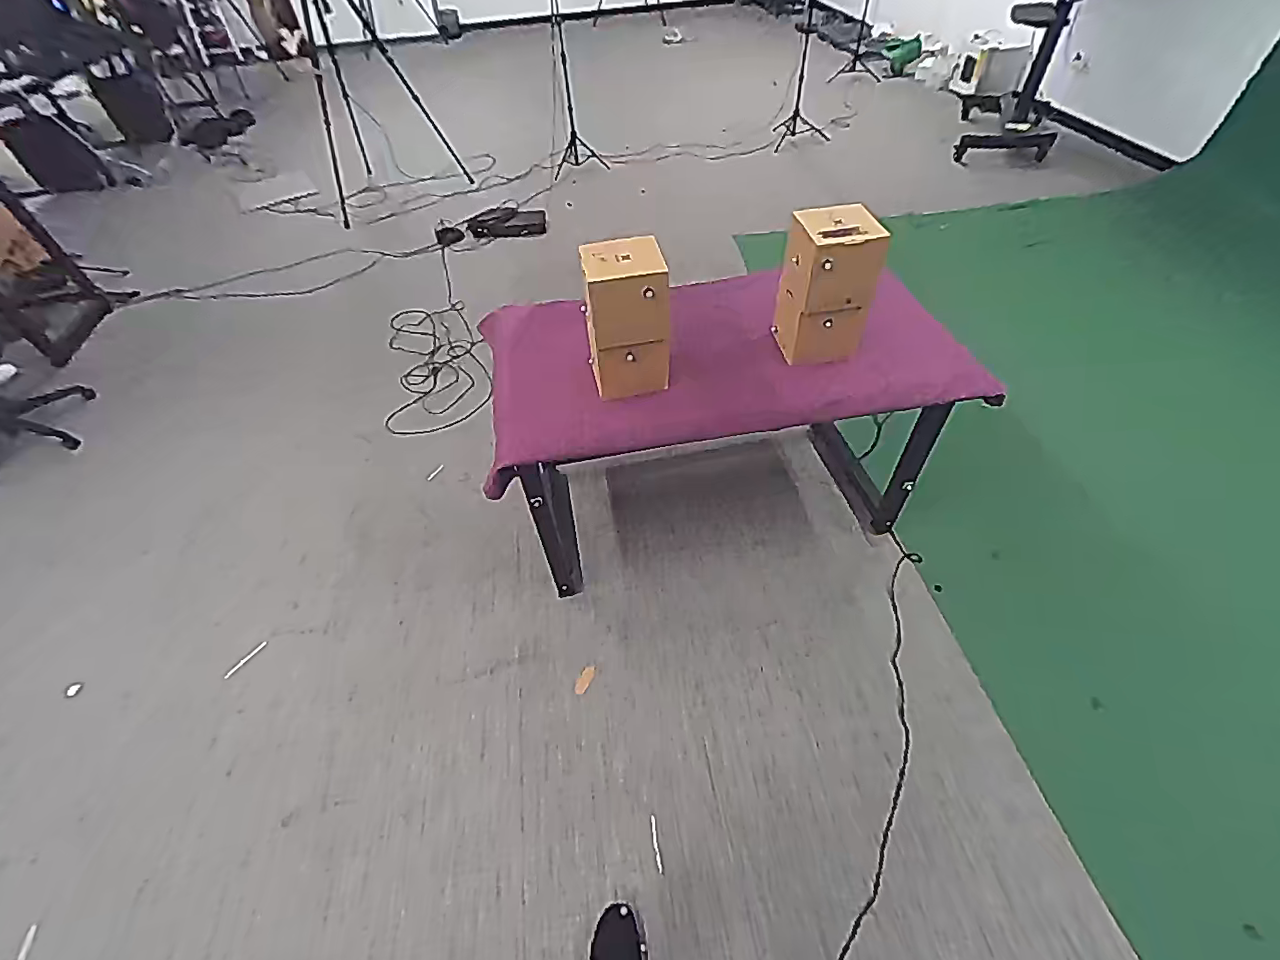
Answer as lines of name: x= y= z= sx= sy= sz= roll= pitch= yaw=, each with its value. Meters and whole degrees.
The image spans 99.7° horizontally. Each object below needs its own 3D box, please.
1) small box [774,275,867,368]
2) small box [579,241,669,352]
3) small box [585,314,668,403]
small box: x=0.455 y=-0.407 z=1.403 sx=0.179 sy=0.176 sz=0.168 roll=-7 pitch=49 yaw=-3
small box: x=-0.035 y=-0.413 z=1.224 sx=0.179 sy=0.176 sz=0.168 roll=-10 pitch=49 yaw=-5
small box: x=-0.033 y=-0.317 z=1.359 sx=0.179 sy=0.176 sz=0.168 roll=-11 pitch=50 yaw=-5
